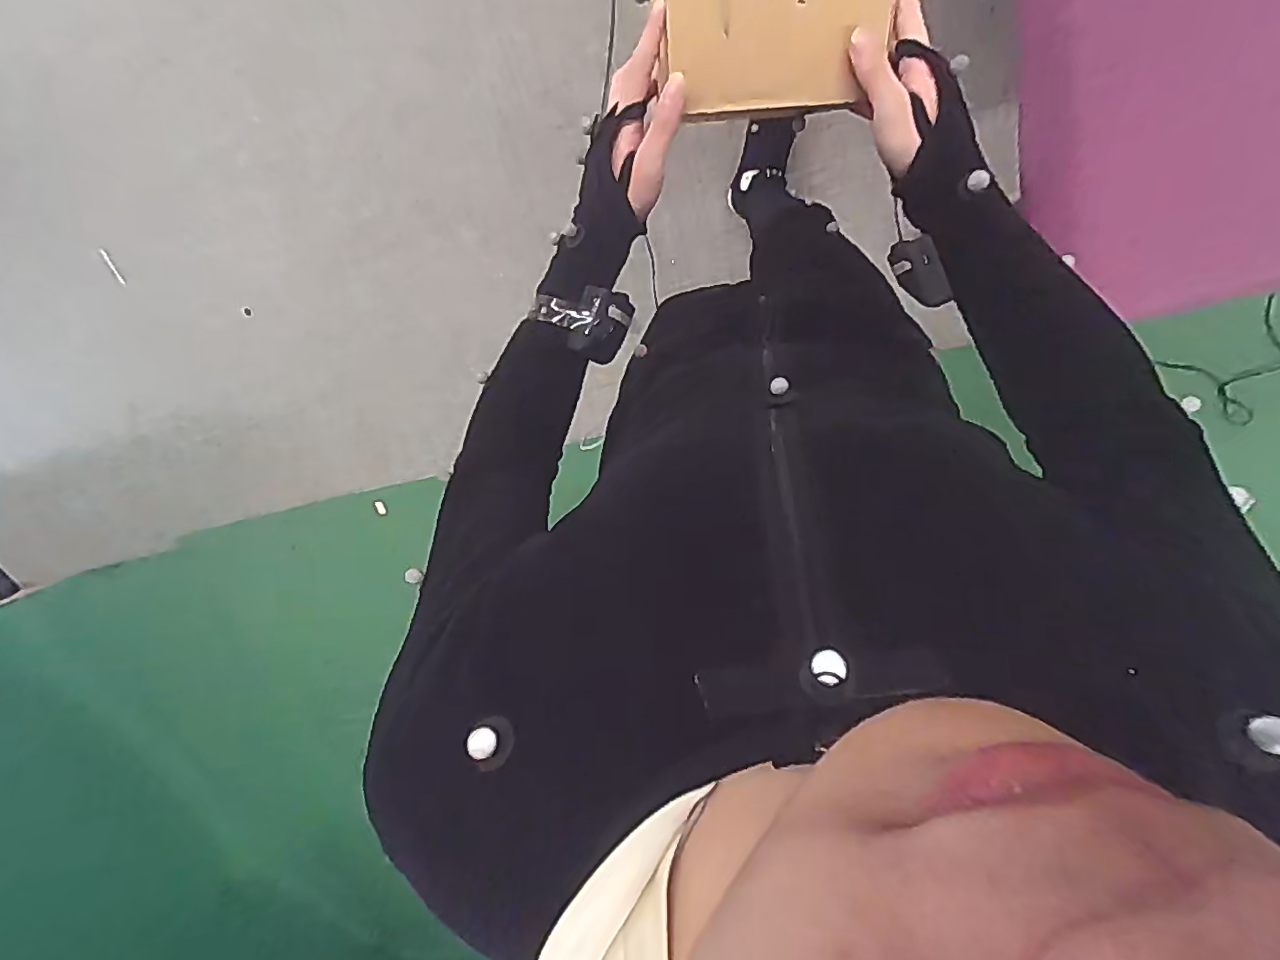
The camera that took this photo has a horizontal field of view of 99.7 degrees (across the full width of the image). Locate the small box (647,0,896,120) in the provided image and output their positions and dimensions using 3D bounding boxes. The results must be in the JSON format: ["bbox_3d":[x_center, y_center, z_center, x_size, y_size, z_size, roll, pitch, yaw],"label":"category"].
[{"bbox_3d":[0.099,-0.413,0.459,0.179,0.176,0.168,-4,120,-1],"label":"small box"}]
